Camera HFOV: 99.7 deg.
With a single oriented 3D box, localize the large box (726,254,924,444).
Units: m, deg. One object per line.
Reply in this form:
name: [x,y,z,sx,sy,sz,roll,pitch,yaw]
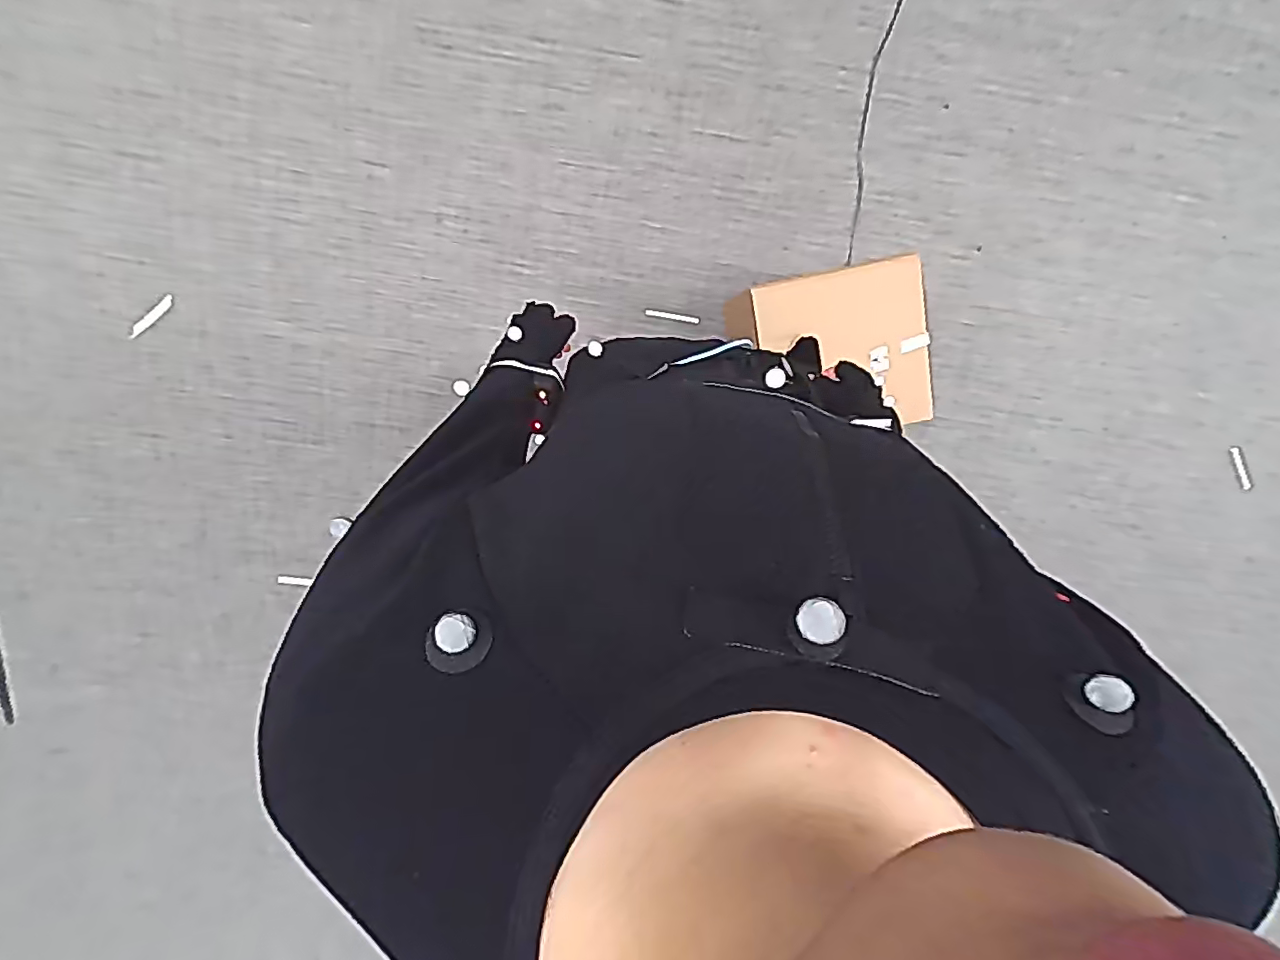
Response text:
large box: [0.390,-0.288,1.222,0.320,0.408,0.320,-10,103,6]
